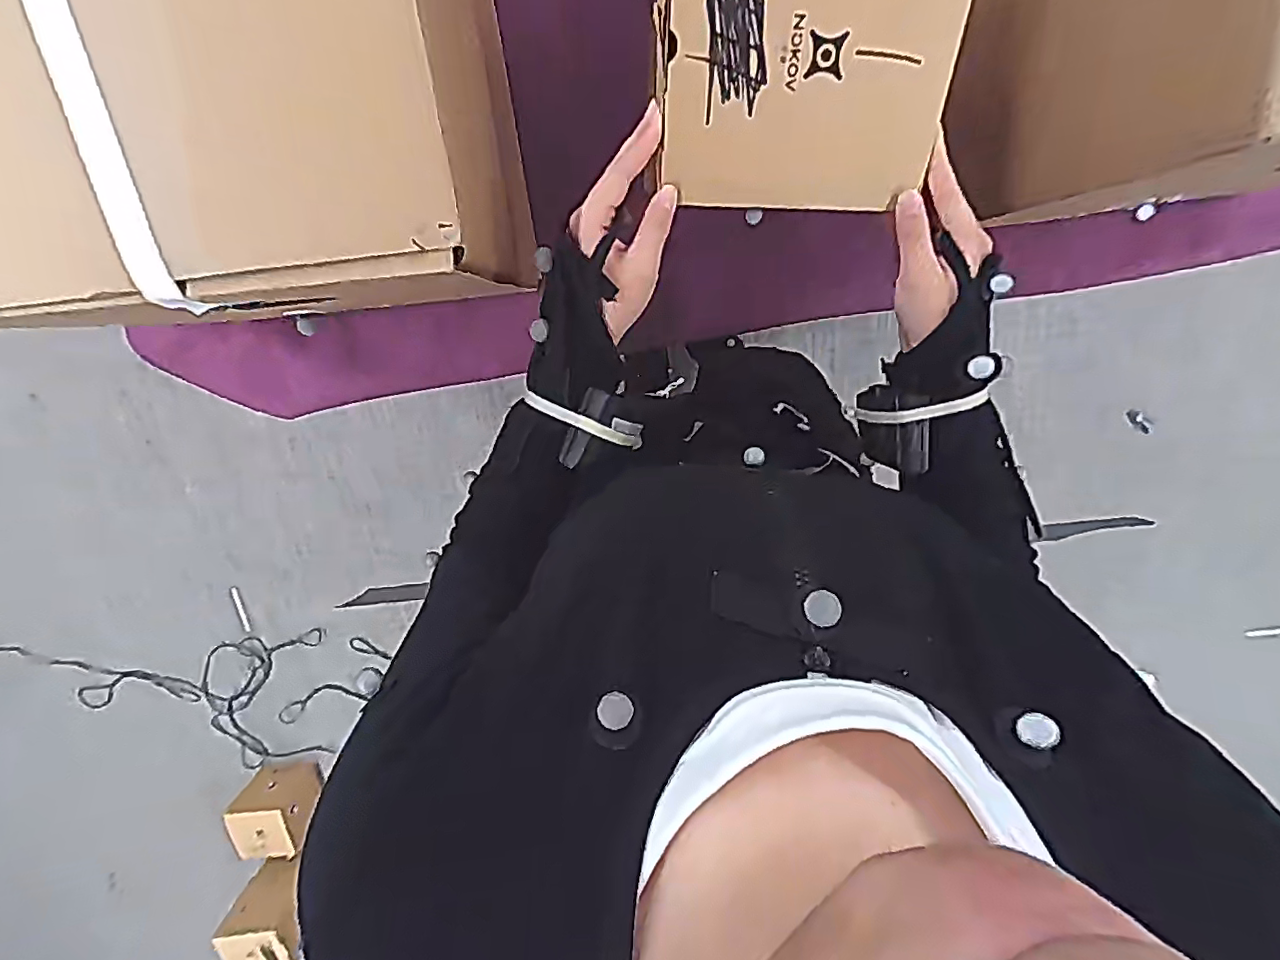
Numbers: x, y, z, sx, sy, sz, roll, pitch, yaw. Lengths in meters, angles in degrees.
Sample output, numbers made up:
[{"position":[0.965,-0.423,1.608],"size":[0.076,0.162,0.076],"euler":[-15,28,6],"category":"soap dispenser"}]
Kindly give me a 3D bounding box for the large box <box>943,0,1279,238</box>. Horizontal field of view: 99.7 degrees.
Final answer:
[{"position":[0.426,-0.410,0.343],"size":[0.320,0.320,0.408],"euler":[-7,106,1],"category":"large box"}]

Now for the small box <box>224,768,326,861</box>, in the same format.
[{"position":[-1.074,0.984,1.606],"size":[0.168,0.176,0.179],"euler":[-5,109,1],"category":"small box"}]
